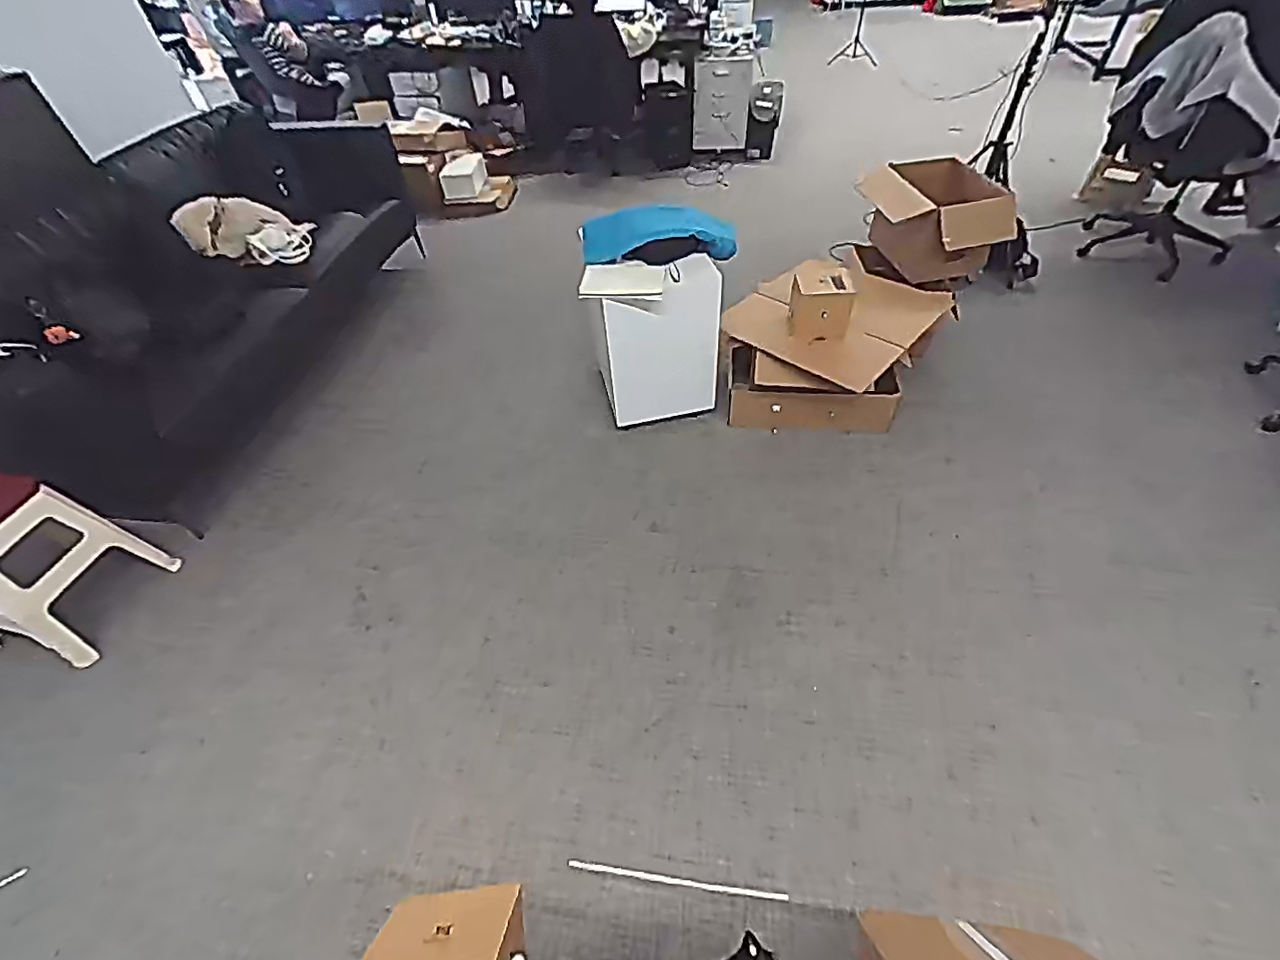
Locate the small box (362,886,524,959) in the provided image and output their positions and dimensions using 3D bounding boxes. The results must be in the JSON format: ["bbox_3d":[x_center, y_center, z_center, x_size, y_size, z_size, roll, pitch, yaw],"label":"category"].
[{"bbox_3d":[-0.236,0.640,0.653,0.168,0.179,0.176,-6,82,-3],"label":"small box"}]
